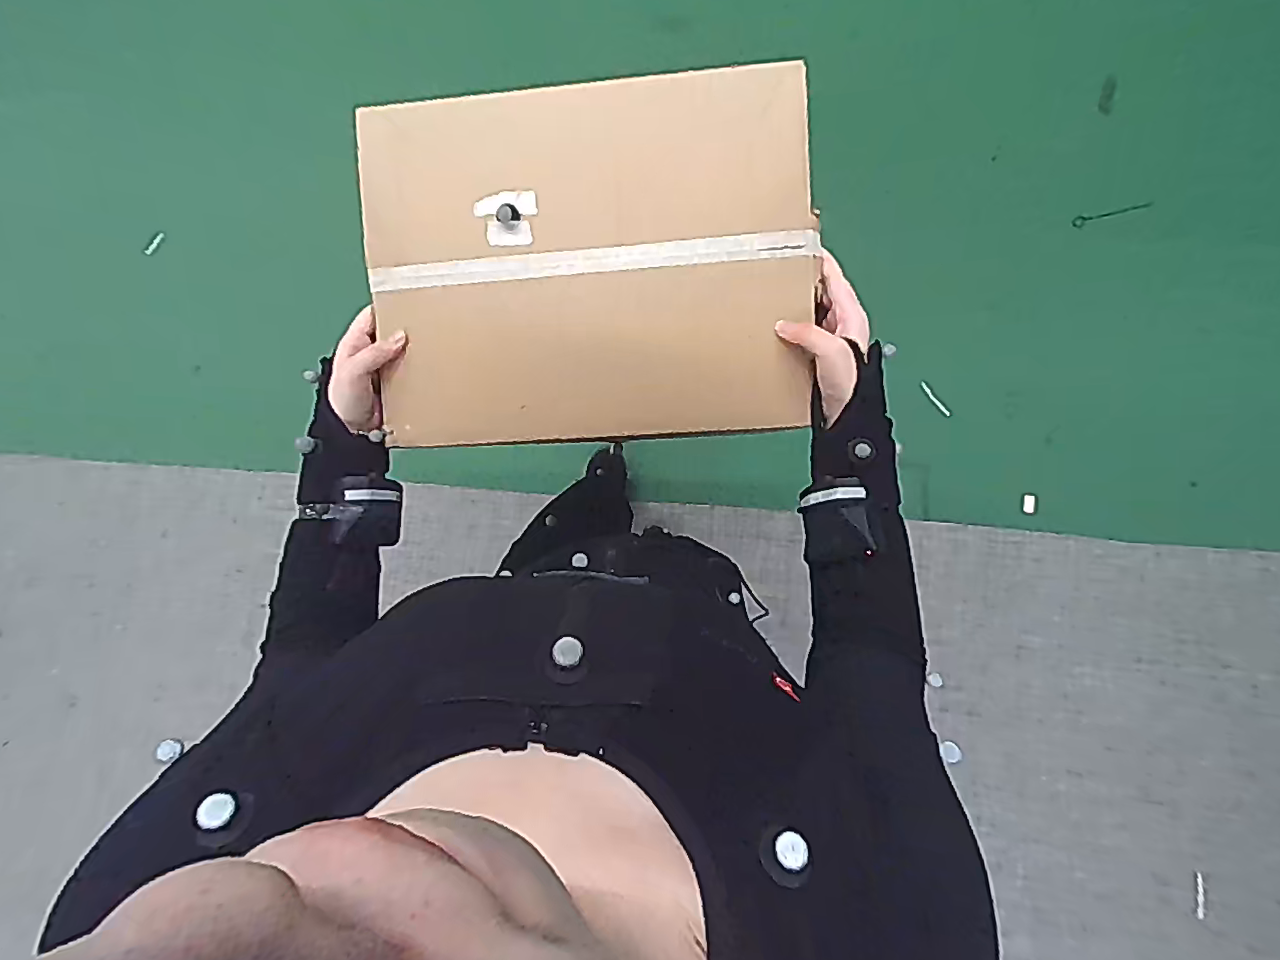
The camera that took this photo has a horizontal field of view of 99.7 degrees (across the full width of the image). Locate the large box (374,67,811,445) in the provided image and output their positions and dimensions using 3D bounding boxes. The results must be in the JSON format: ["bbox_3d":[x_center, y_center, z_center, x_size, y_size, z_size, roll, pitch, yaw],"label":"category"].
[{"bbox_3d":[-0.032,-0.212,0.653,0.408,0.320,0.320,-3,93,7],"label":"large box"}]
